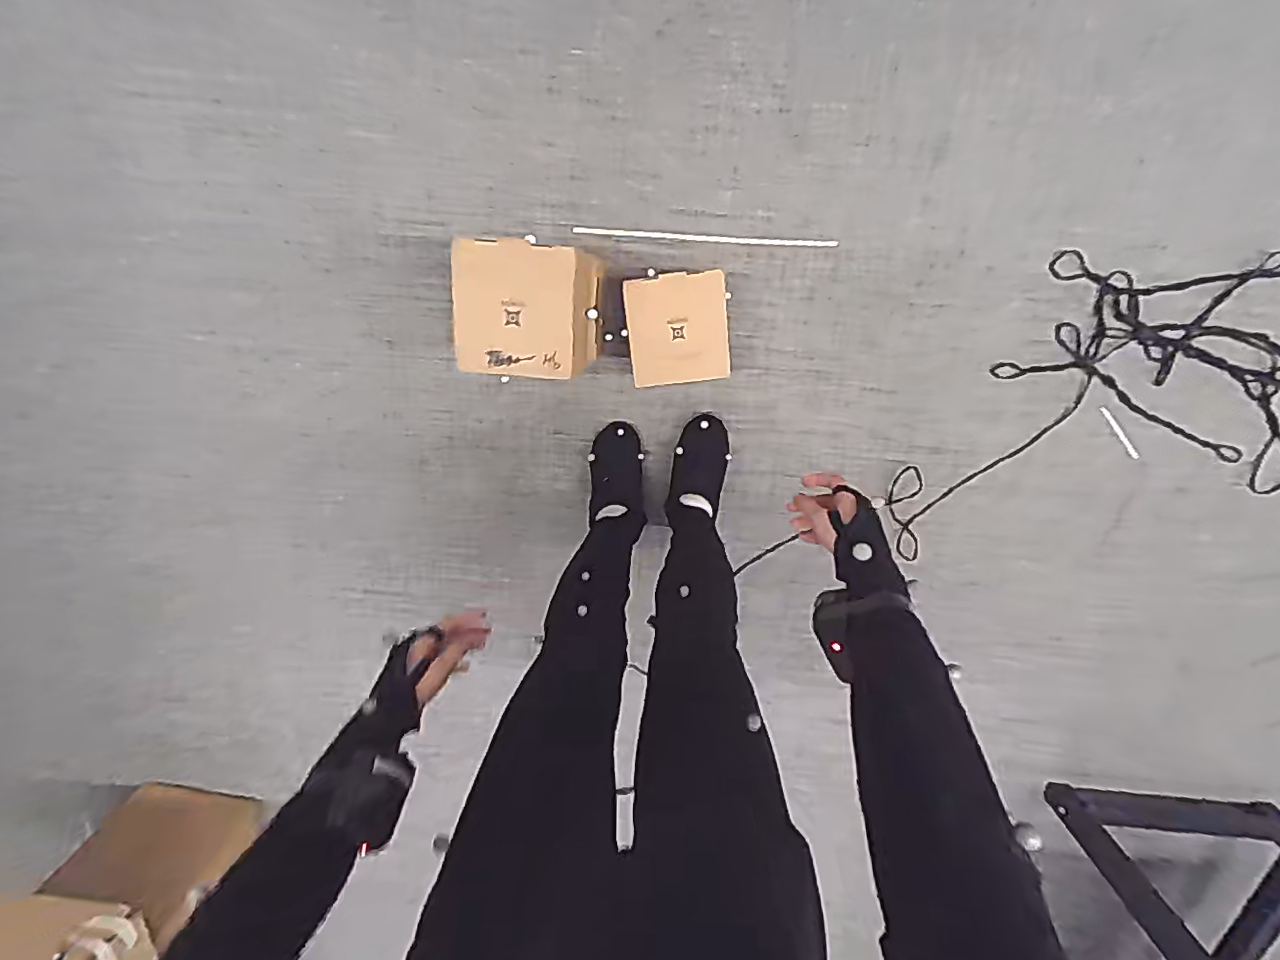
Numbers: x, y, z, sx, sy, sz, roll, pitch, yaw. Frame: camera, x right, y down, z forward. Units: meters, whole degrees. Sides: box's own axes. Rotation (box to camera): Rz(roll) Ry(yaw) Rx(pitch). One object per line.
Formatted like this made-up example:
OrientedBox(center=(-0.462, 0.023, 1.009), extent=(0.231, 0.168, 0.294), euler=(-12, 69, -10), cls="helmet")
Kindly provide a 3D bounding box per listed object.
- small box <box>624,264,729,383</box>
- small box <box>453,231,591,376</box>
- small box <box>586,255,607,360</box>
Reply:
OrientedBox(center=(0.064, -0.277, 0.959), extent=(0.168, 0.176, 0.179), euler=(-5, 109, 5), cls="small box")
OrientedBox(center=(-0.166, -0.257, 0.801), extent=(0.168, 0.176, 0.179), euler=(5, 108, 1), cls="small box")
OrientedBox(center=(-0.153, -0.311, 0.956), extent=(0.179, 0.176, 0.168), euler=(4, 108, 2), cls="small box")
